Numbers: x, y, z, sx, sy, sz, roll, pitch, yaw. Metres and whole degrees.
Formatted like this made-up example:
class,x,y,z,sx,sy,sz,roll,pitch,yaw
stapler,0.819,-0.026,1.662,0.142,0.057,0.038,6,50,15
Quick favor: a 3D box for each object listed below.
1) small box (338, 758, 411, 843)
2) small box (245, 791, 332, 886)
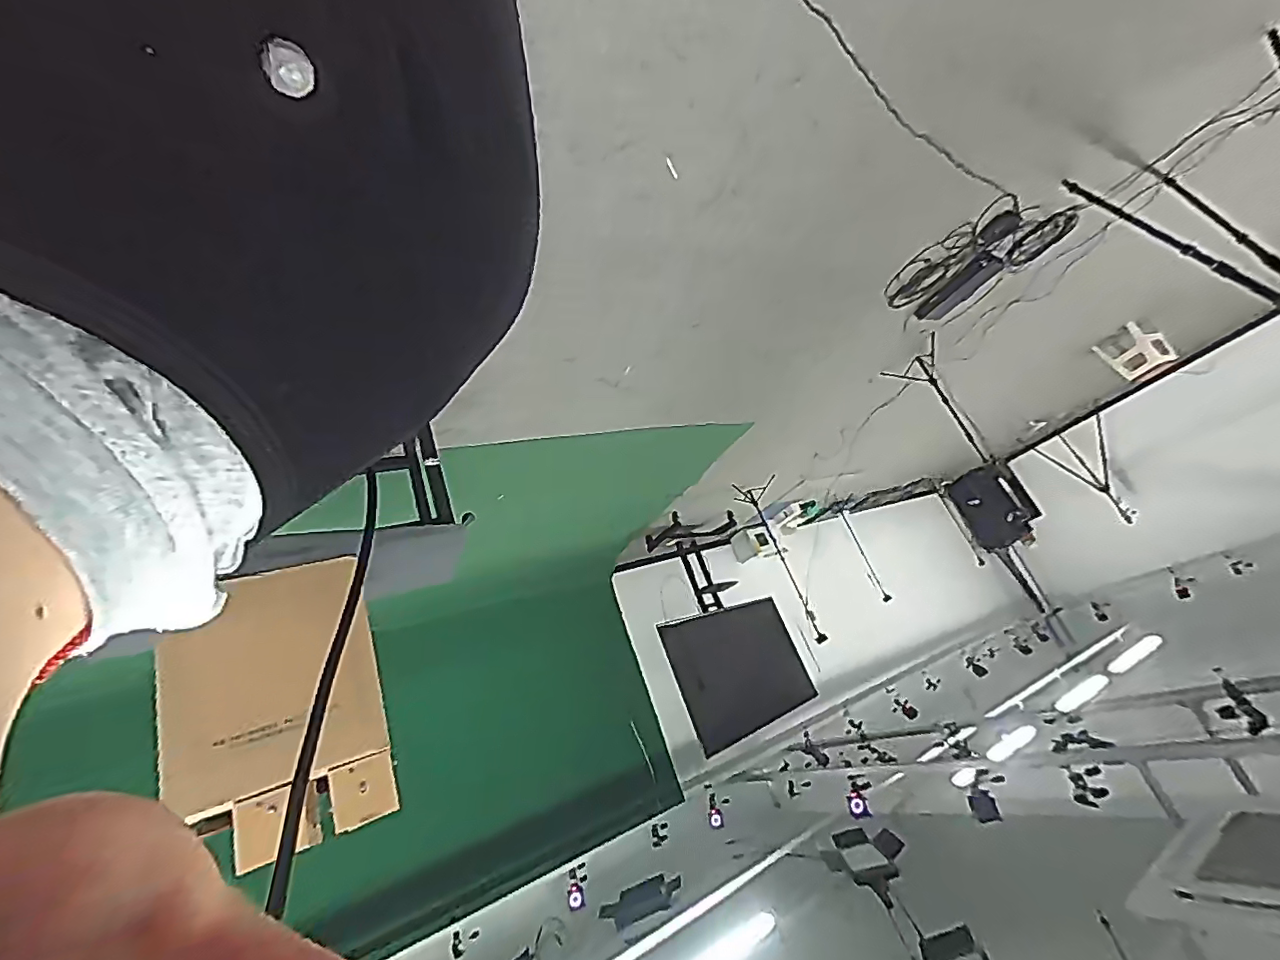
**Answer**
class,x,y,z,sx,sy,sz,roll,pitch,yaw
small box,-0.792,0.952,1.616,0.168,0.176,0.179,-12,156,-29
small box,-0.973,0.985,1.504,0.168,0.176,0.179,-12,155,-25
